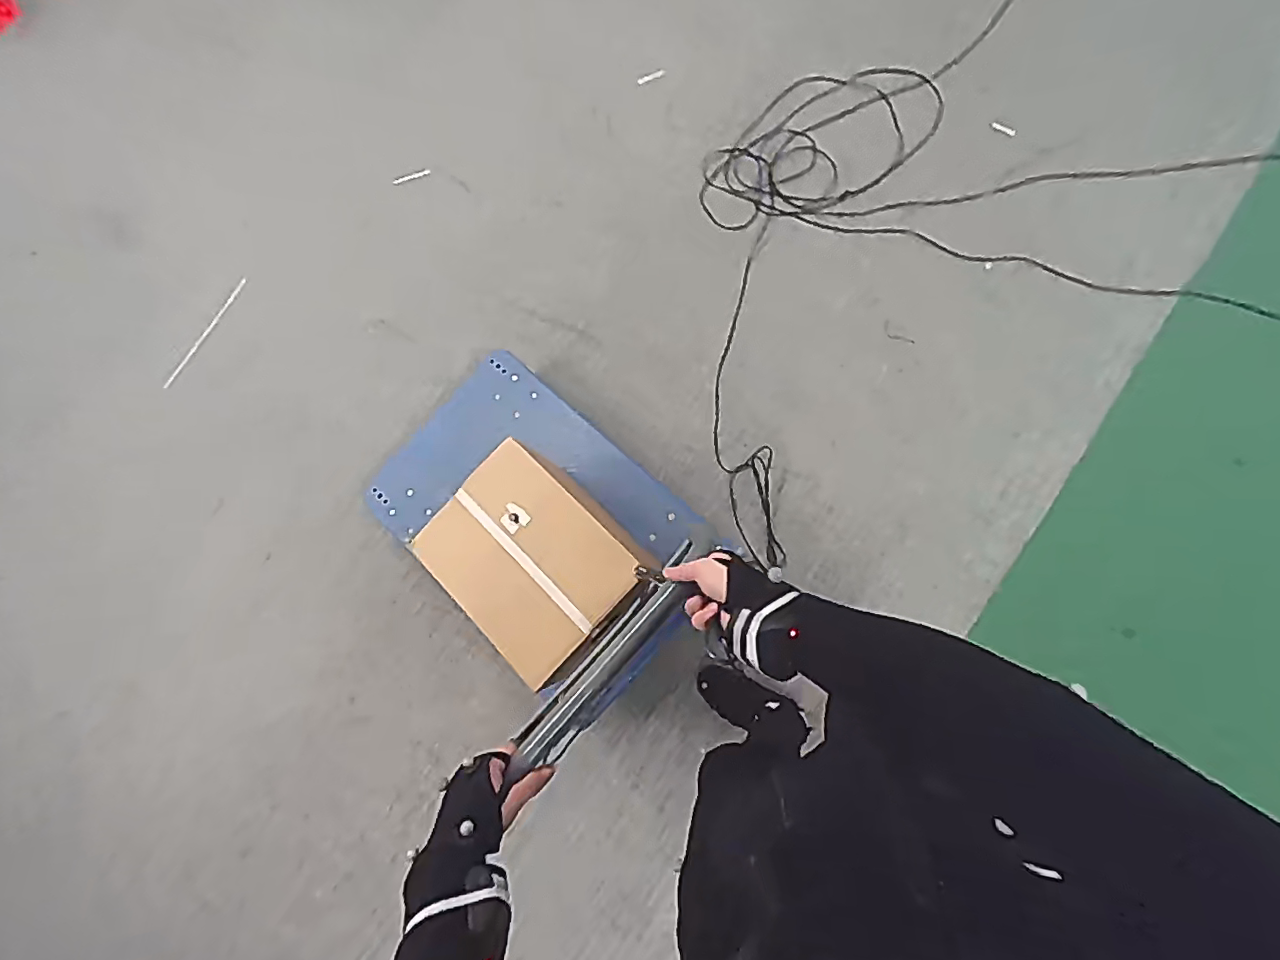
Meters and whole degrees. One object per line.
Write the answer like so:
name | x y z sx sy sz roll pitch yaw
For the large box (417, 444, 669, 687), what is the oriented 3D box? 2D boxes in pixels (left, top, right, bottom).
large box | -0.197 0.189 1.221 0.408 0.320 0.320 43 88 16
